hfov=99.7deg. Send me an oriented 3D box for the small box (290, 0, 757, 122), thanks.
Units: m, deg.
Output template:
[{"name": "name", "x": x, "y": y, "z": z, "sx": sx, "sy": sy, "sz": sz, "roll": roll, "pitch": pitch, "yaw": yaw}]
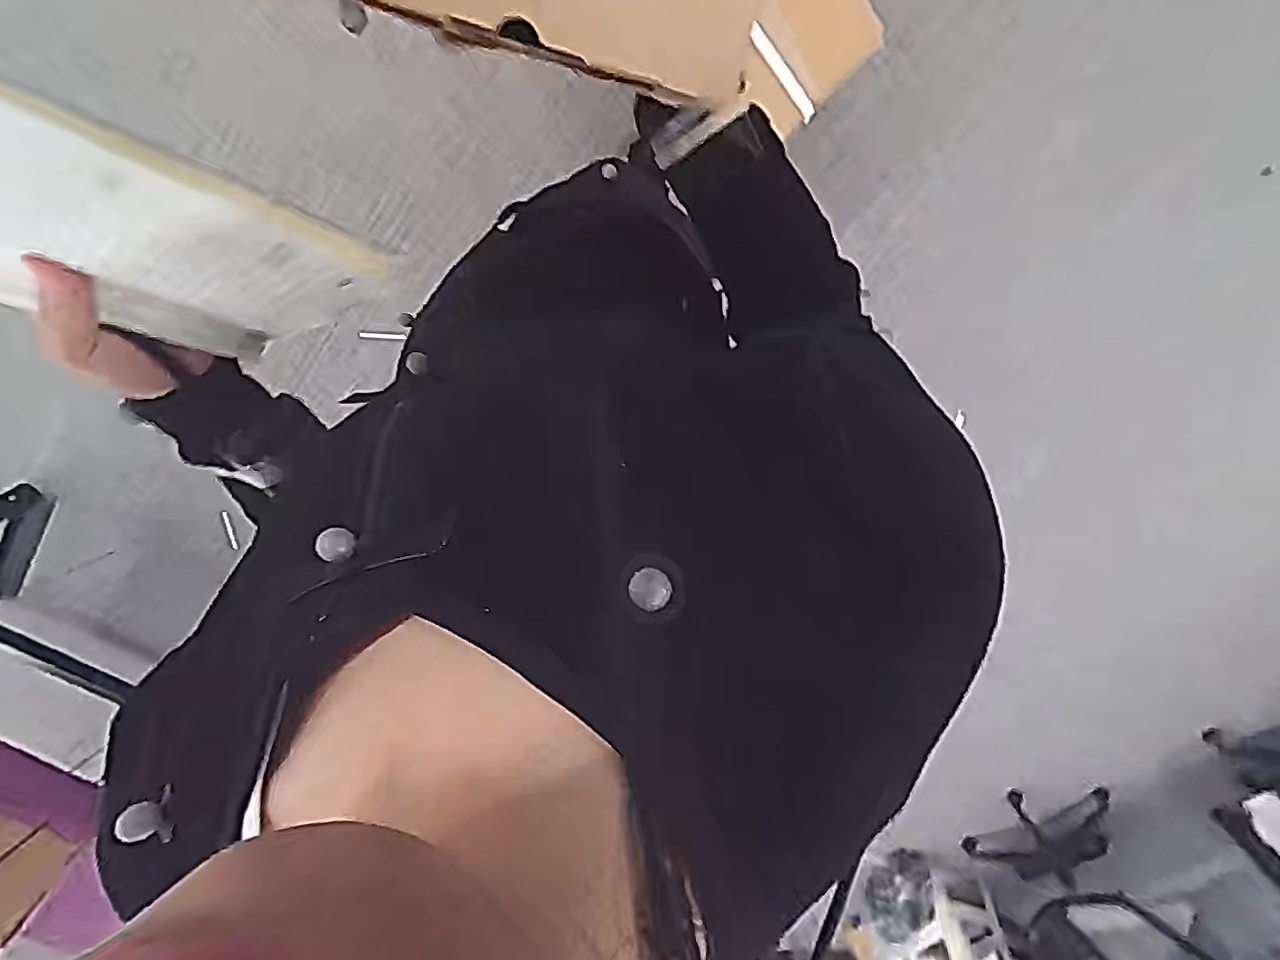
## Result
[{"name": "small box", "x": -0.047, "y": -0.255, "z": 0.182, "sx": 0.168, "sy": 0.176, "sz": 0.179, "roll": -2, "pitch": 130, "yaw": -25}]
